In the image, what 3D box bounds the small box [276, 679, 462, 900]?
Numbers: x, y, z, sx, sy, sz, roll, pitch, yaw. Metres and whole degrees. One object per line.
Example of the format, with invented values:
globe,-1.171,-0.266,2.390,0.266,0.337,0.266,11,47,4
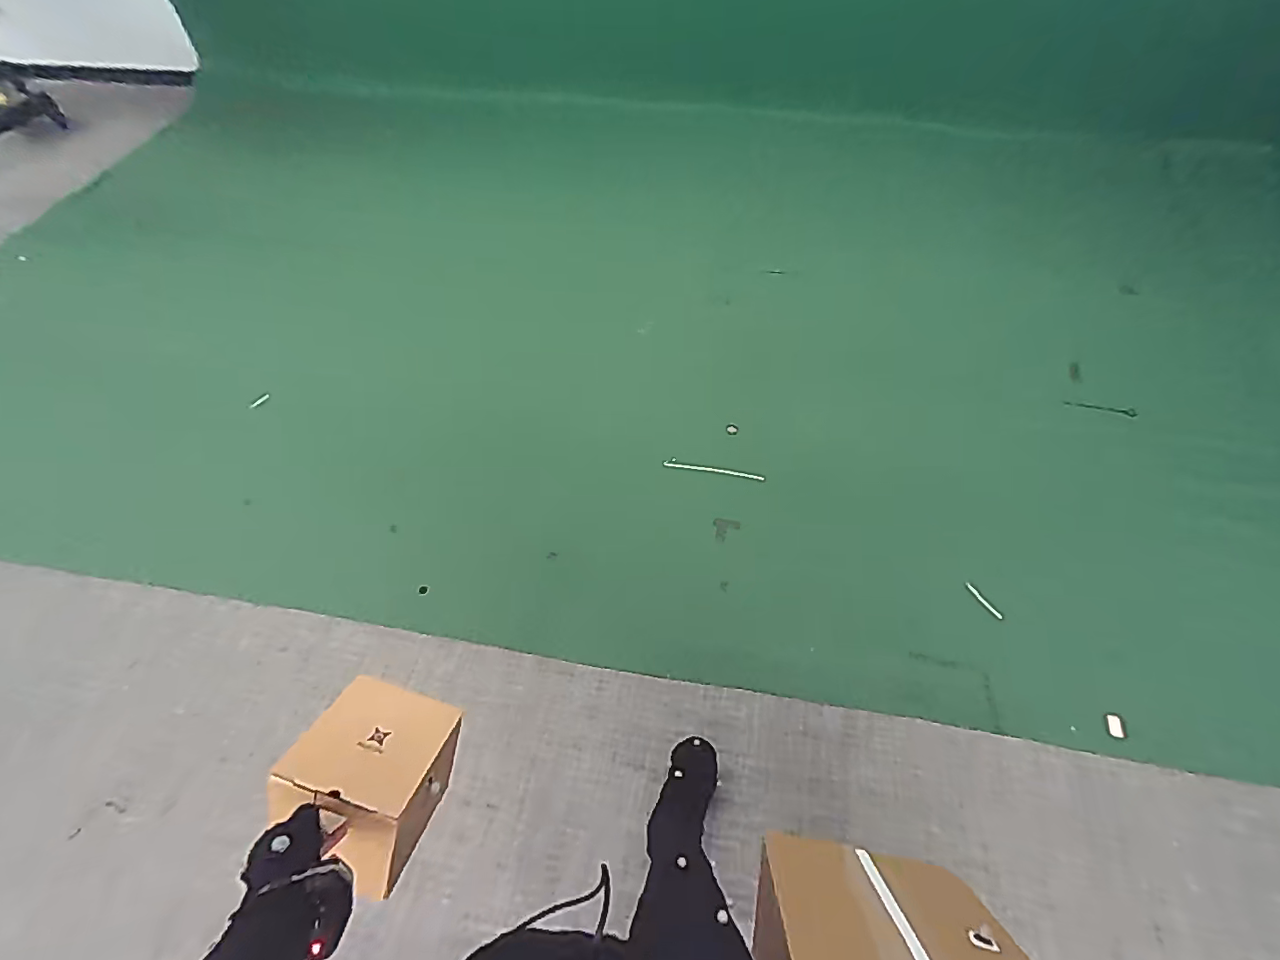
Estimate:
small box,-0.372,0.420,0.748,0.168,0.176,0.179,18,22,2
